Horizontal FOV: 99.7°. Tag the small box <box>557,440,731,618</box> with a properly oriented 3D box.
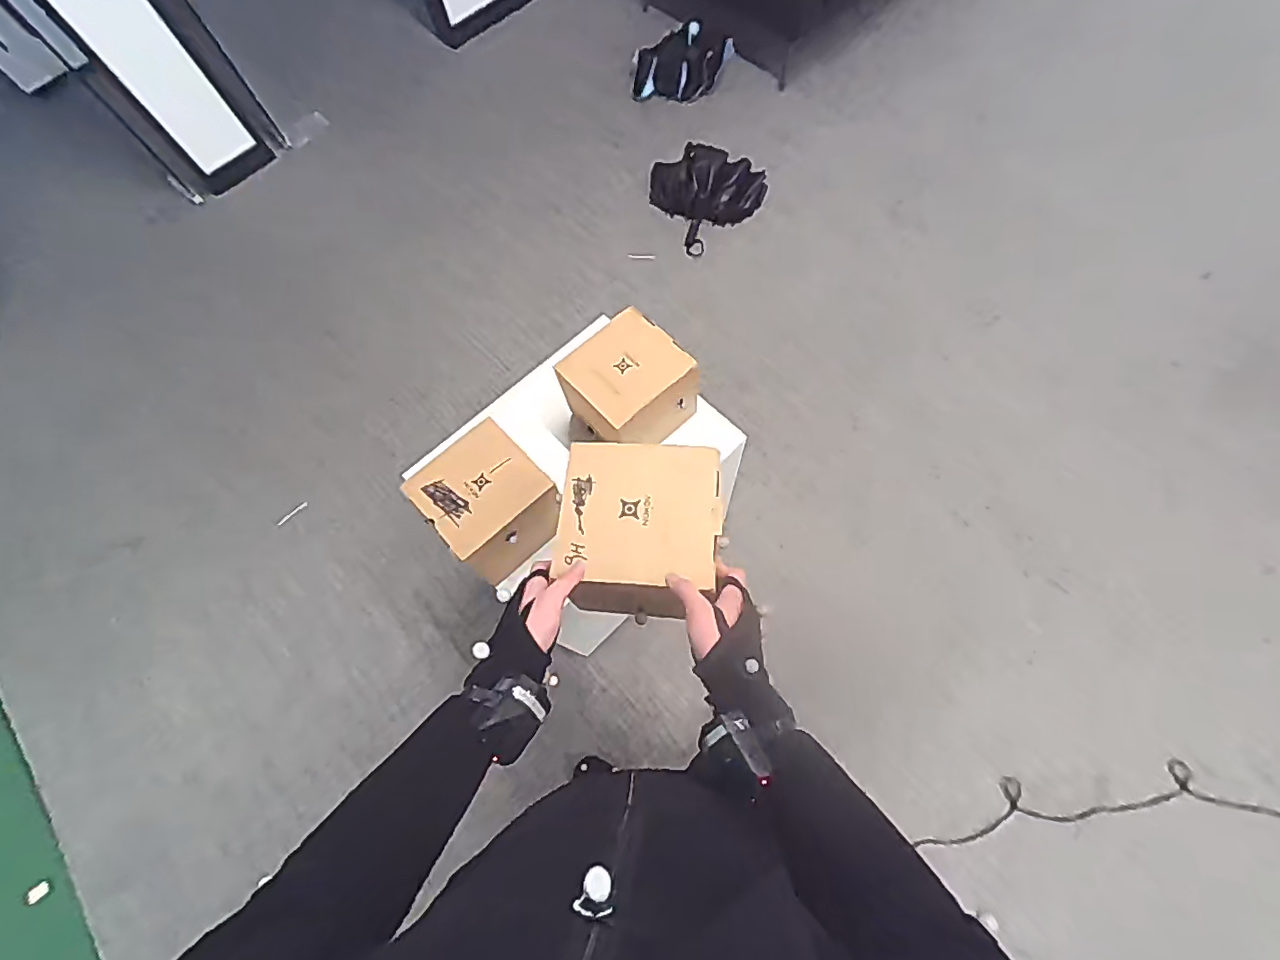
[{"bbox_3d":[0.013,0.067,0.654,0.179,0.176,0.168,3,65,6],"label":"small box"}]

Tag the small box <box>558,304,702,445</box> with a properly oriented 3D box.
[{"bbox_3d":[-0.014,-0.157,0.933,0.179,0.176,0.168,-41,72,-11],"label":"small box"}]

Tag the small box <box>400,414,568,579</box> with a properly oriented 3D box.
[{"bbox_3d":[-0.236,0.035,0.866,0.179,0.176,0.168,-41,73,-14],"label":"small box"}]
